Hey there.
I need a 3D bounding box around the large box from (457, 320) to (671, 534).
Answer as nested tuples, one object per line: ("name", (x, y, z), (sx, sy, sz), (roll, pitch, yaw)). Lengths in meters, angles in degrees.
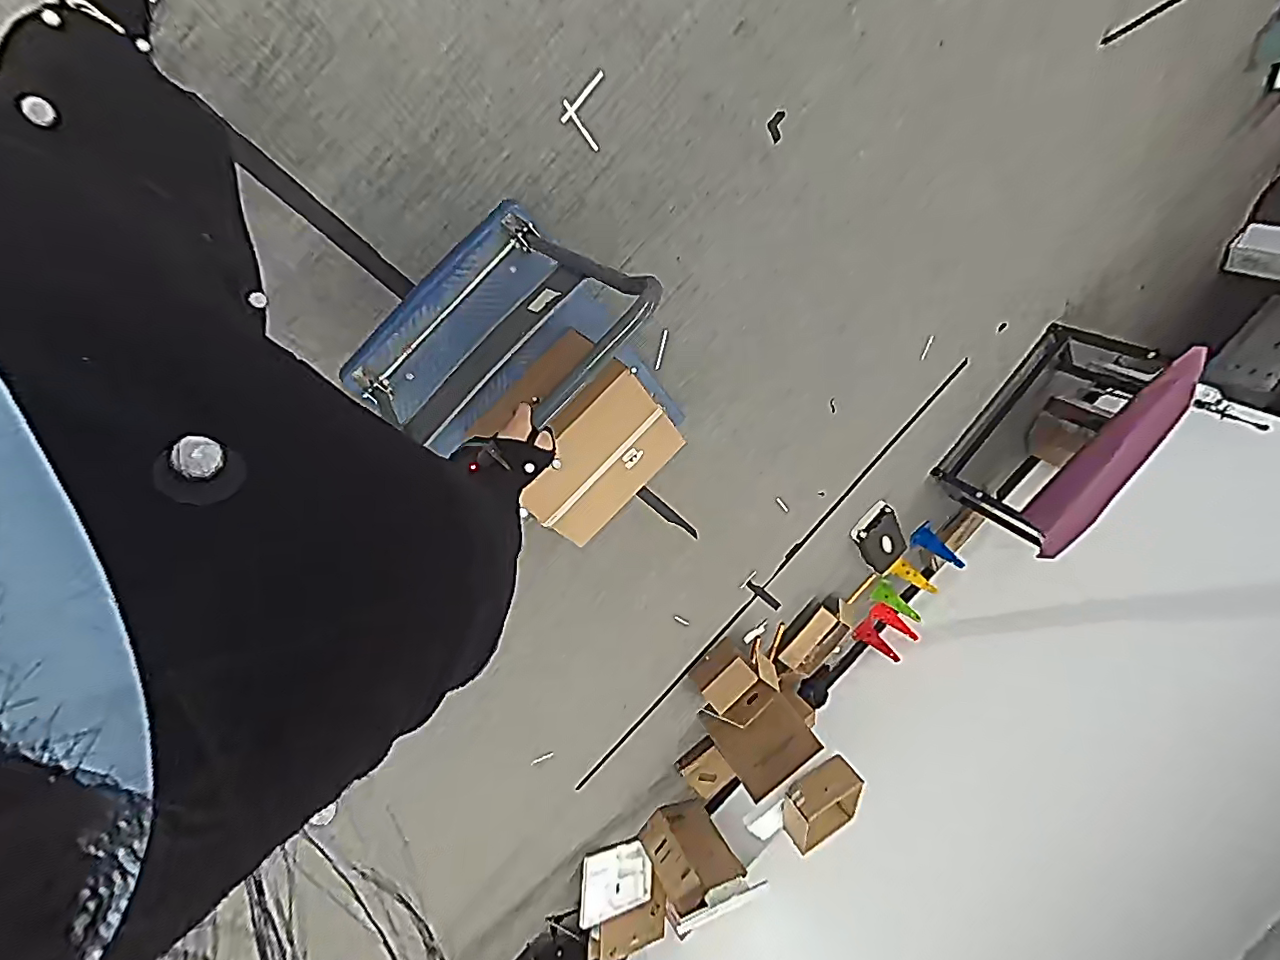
("large box", (-0.204, -0.142, 1.435), (0.408, 0.320, 0.320), (-46, 137, -2))
